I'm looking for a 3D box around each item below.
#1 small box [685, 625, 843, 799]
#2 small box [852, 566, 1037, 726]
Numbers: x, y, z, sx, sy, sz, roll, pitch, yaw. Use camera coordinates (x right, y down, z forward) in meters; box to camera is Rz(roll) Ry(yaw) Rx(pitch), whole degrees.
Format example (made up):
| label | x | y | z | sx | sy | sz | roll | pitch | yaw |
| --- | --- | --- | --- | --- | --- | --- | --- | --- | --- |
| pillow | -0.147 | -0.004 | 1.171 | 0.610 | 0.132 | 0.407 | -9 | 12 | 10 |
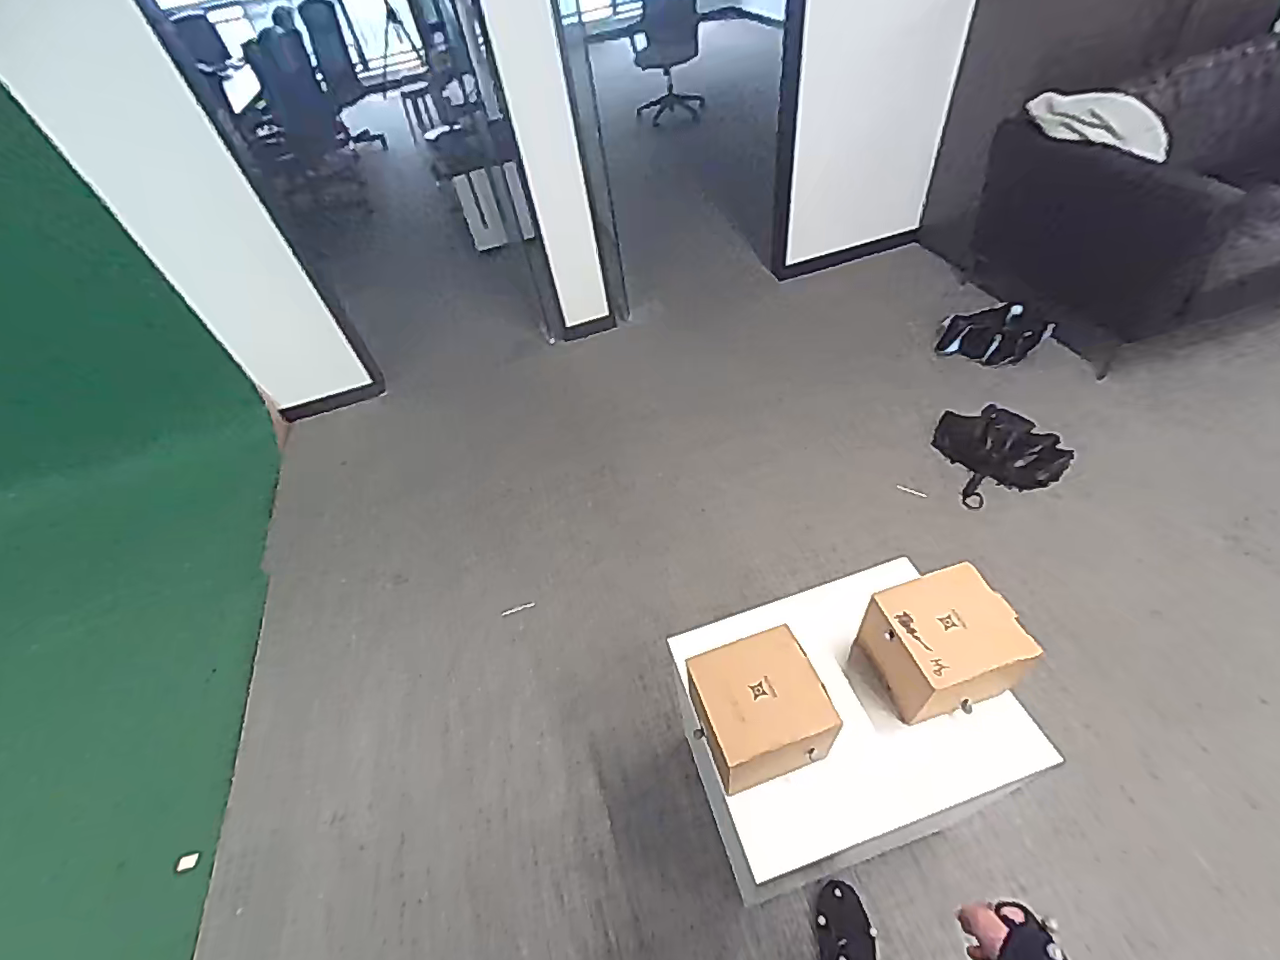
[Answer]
| label | x | y | z | sx | sy | sz | roll | pitch | yaw |
| --- | --- | --- | --- | --- | --- | --- | --- | --- | --- |
| small box | 0.176 | 0.356 | 0.830 | 0.179 | 0.176 | 0.168 | -17 | 47 | -10 |
| small box | 0.474 | 0.270 | 0.876 | 0.179 | 0.176 | 0.168 | -15 | 48 | -8 |
